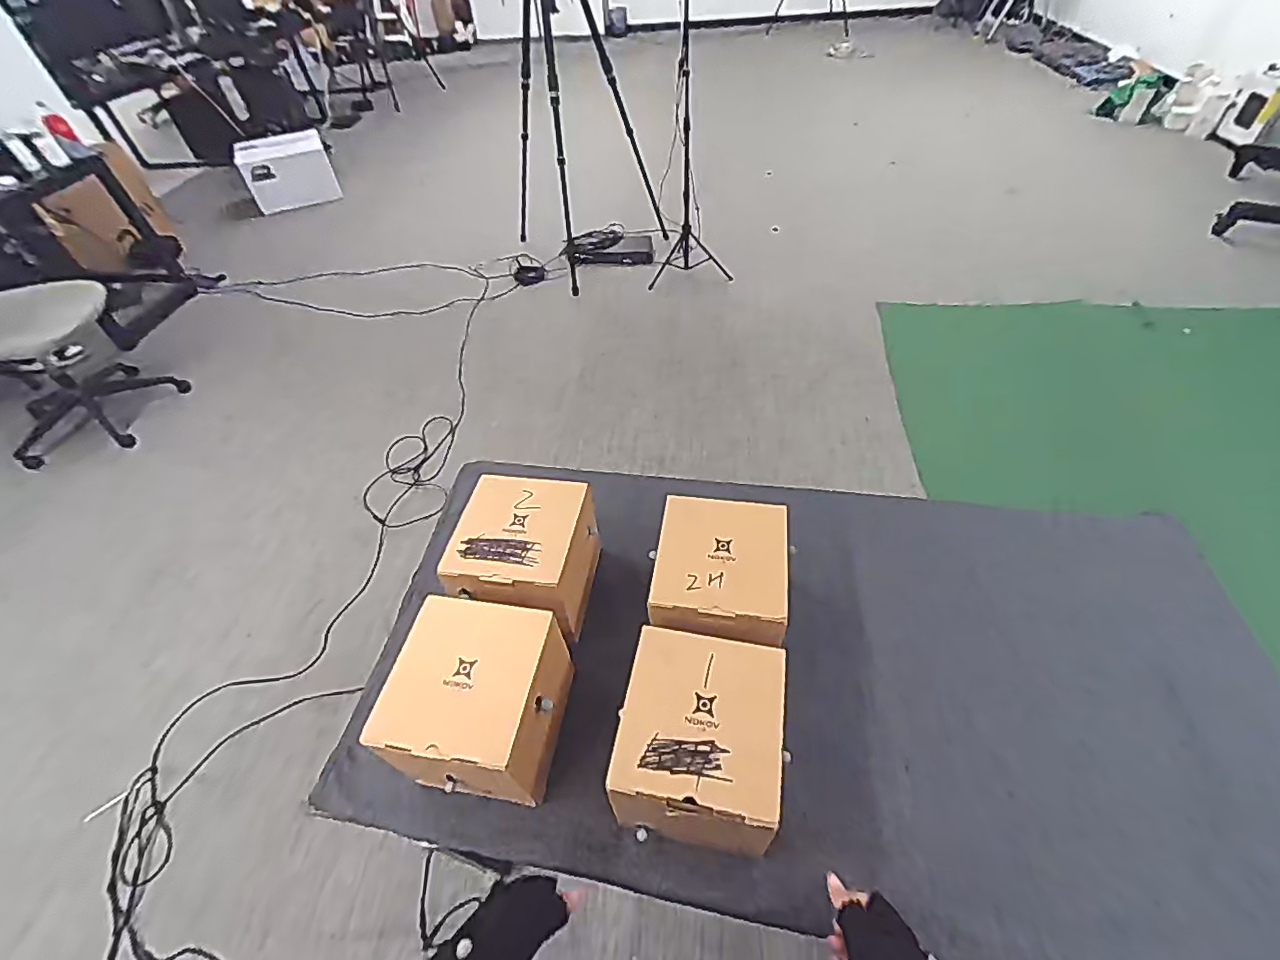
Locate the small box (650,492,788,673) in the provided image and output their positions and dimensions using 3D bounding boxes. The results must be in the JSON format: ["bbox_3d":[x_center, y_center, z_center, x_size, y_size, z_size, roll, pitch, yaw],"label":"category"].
[{"bbox_3d":[0.109,0.142,0.752,0.168,0.176,0.179,6,49,9],"label":"small box"}]
